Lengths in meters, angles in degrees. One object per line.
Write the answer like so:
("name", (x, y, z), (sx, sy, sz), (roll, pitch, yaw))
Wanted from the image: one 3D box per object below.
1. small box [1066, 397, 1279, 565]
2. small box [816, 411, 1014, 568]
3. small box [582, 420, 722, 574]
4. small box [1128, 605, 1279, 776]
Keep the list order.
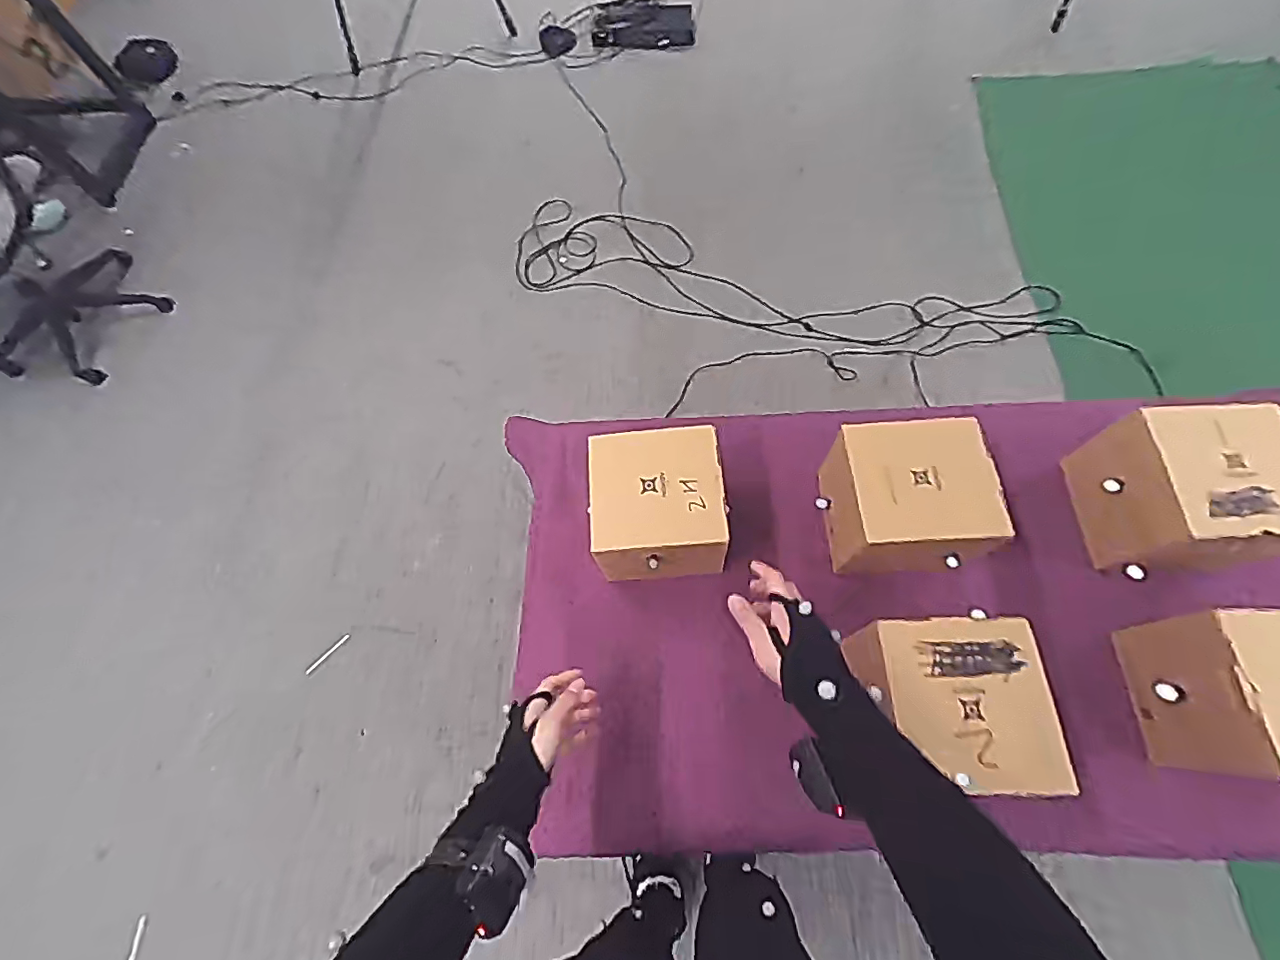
("small box", (0.715, 0.011, 0.710), (0.168, 0.176, 0.179), (-1, 66, 5))
("small box", (0.357, 0.021, 0.740), (0.179, 0.176, 0.168), (-3, 66, 4))
("small box", (0.020, 0.032, 0.763), (0.179, 0.176, 0.168), (-4, 67, 4))
("small box", (0.709, 0.242, 0.611), (0.179, 0.176, 0.168), (0, 66, 6))
